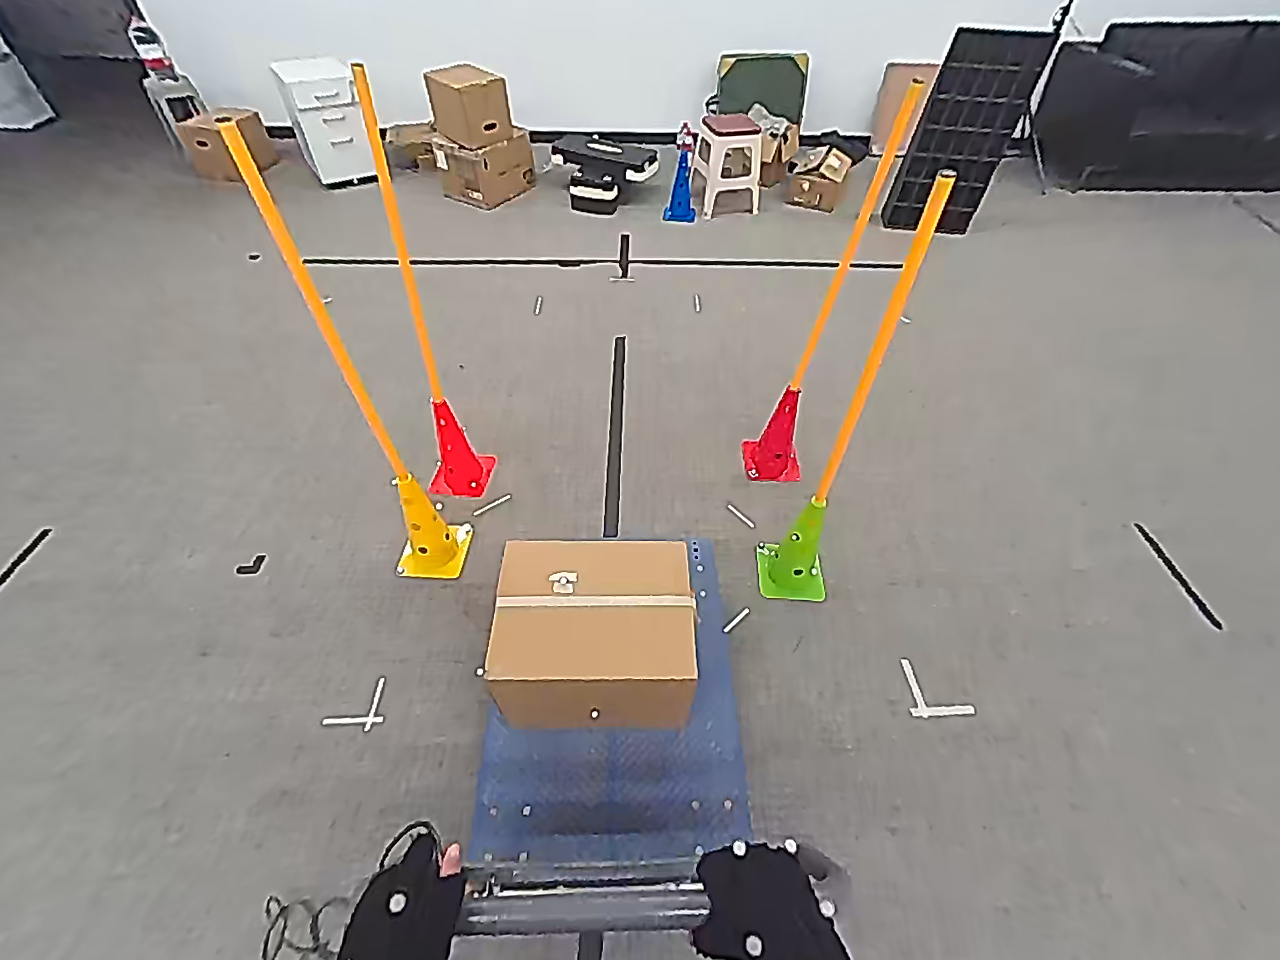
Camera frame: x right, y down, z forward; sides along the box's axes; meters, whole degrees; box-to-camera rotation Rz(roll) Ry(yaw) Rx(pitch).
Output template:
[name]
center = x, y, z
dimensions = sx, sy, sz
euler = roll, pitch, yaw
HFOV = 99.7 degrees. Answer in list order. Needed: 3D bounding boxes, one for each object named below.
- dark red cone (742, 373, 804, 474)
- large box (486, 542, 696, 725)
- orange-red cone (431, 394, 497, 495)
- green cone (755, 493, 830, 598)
[dark red cone]
center = 0.501, -0.207, 1.900
dimensions = 0.201, 0.394, 0.202
euler = 2, 49, -3
[large box]
center = -0.096, 0.353, 1.227
dimensions = 0.408, 0.320, 0.320
euler = 0, 49, -1
[orange-red cone]
center = -0.630, -0.145, 1.835
dimensions = 0.198, 0.360, 0.199
euler = 7, 48, 3
[green cone]
center = 0.481, 0.170, 1.595
dimensions = 0.202, 0.368, 0.200
euler = 5, 49, 0
